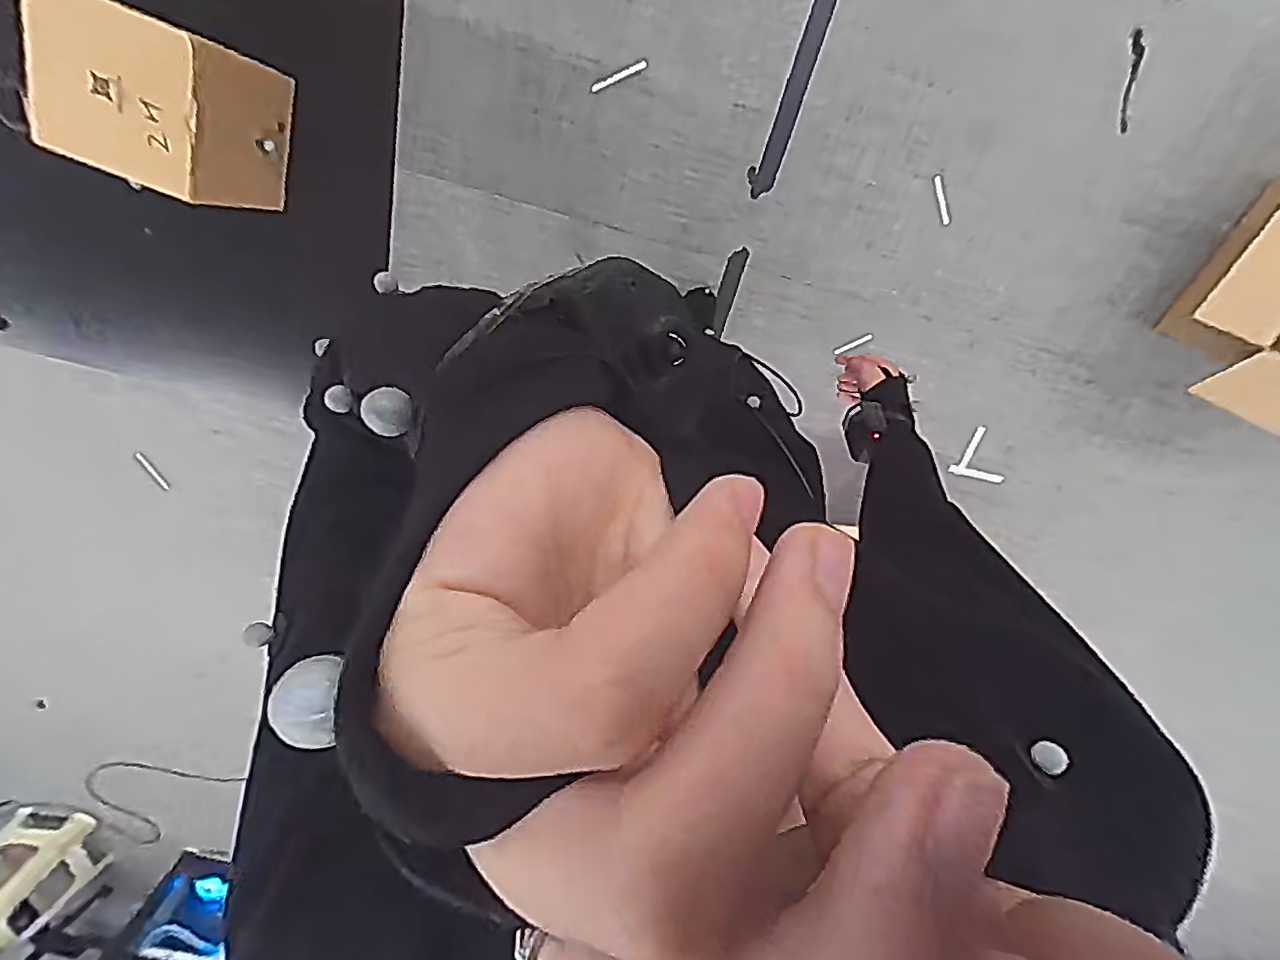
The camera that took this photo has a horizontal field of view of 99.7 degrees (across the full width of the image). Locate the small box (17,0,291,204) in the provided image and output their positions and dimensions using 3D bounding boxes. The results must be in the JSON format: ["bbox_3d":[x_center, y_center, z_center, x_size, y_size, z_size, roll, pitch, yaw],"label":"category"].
[{"bbox_3d":[-0.564,-0.446,0.647,0.179,0.176,0.168,19,114,-6],"label":"small box"}]
